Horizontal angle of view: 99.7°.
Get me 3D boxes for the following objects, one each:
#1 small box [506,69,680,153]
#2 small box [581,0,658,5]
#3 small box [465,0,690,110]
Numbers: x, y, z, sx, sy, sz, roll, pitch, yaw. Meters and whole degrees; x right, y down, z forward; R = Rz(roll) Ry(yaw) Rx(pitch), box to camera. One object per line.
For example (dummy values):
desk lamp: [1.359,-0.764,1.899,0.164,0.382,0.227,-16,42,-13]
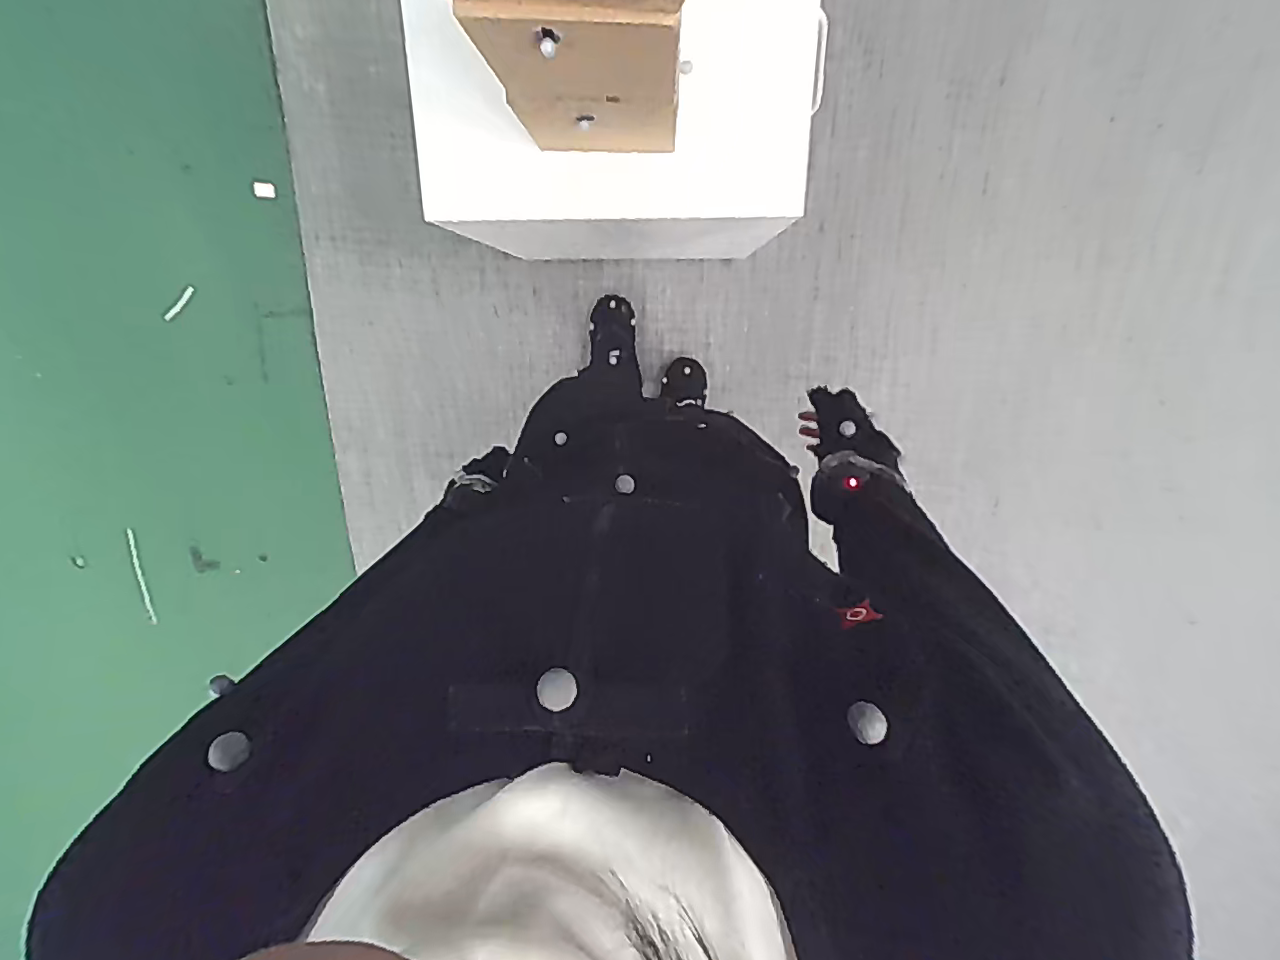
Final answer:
small box: [-0.042,-0.482,0.603,0.179,0.176,0.168,3,107,2]
small box: [-0.053,-0.397,0.289,0.179,0.176,0.168,4,109,1]
small box: [-0.043,-0.439,0.448,0.168,0.176,0.179,1,107,1]
